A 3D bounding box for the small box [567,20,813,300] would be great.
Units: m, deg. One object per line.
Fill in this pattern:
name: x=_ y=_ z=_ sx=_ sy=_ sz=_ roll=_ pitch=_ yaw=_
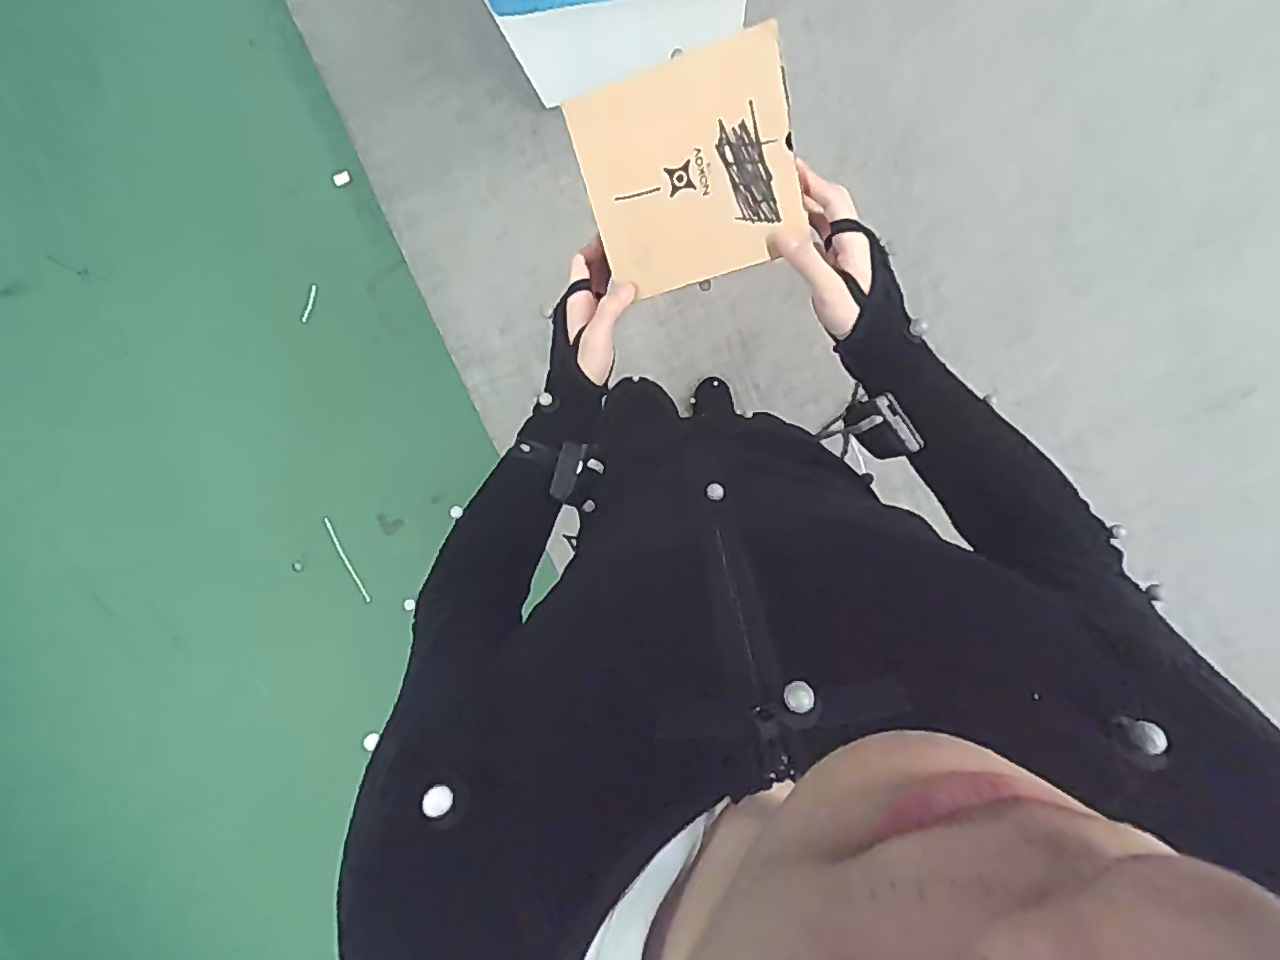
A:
small box: x=0.051 y=-0.287 z=0.518 sx=0.179 sy=0.176 sz=0.168 roll=-13 pitch=112 yaw=12
